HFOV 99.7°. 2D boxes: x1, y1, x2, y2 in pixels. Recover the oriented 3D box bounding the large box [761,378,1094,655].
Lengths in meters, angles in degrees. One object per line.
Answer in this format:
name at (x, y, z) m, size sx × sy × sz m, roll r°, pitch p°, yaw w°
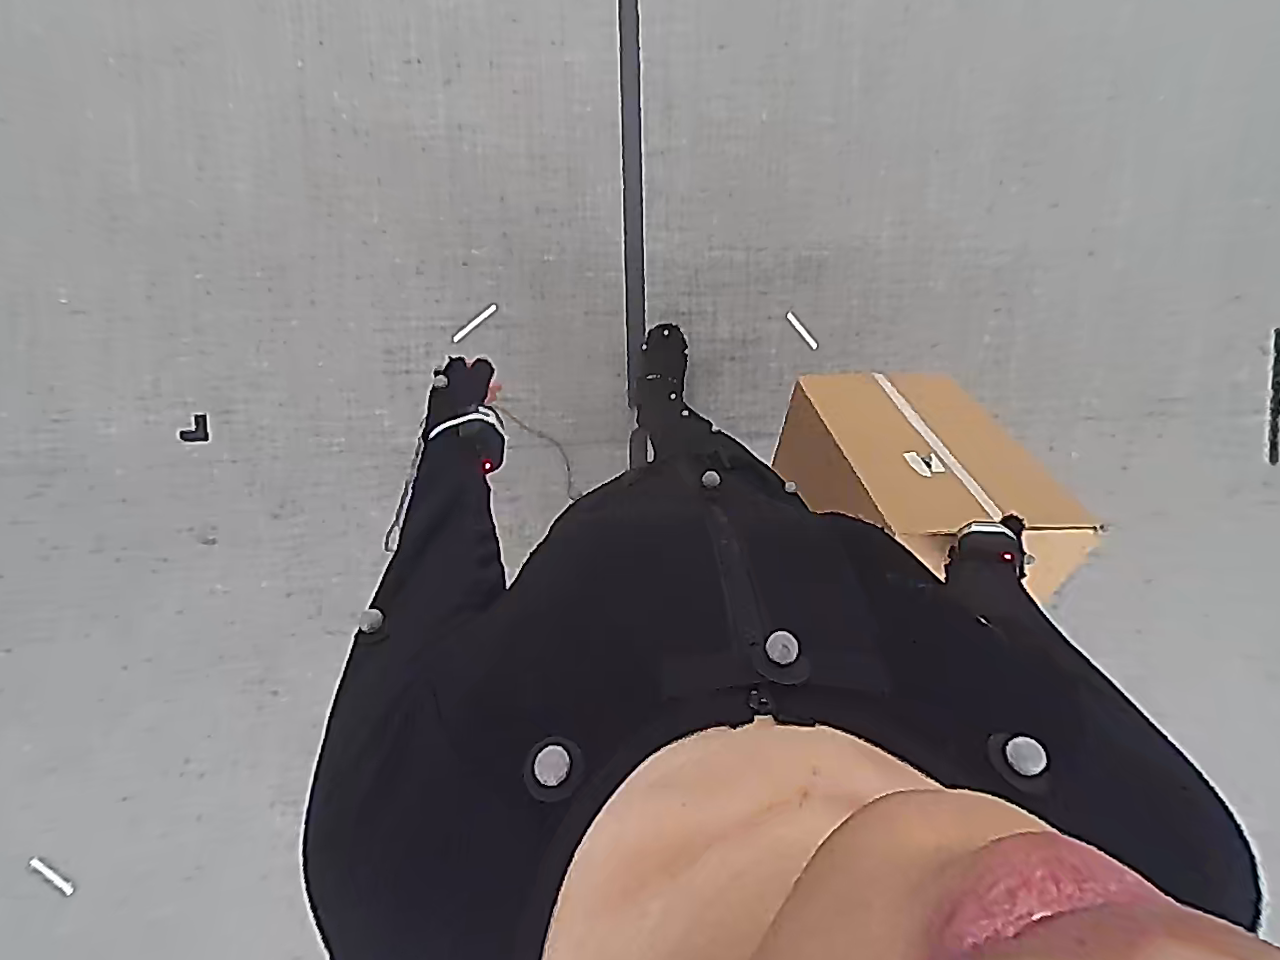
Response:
large box at (0.452, 0.052, 0.981) m, size 0.320 × 0.408 × 0.320 m, roll -2°, pitch 131°, yaw -8°
